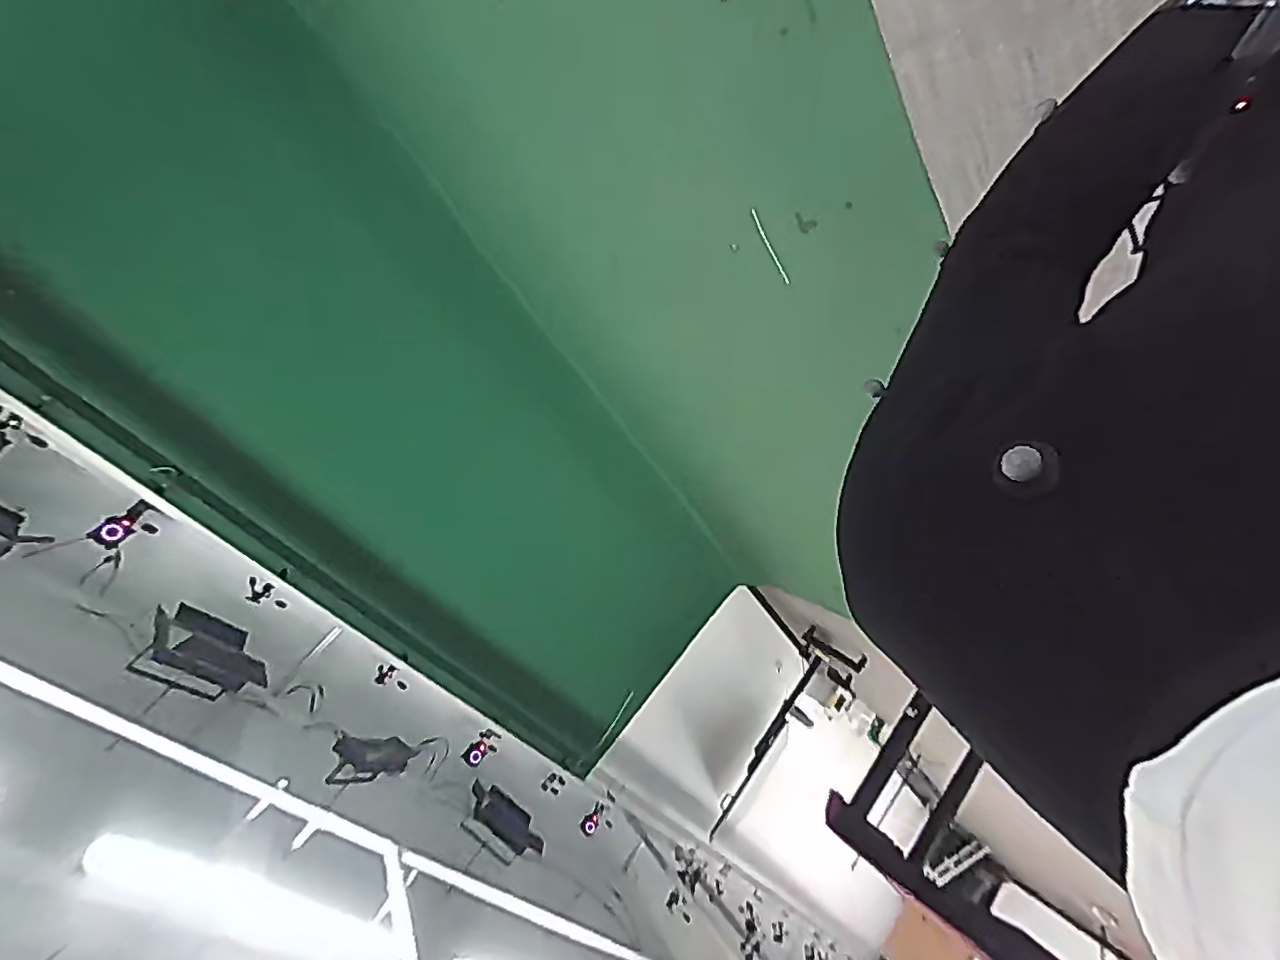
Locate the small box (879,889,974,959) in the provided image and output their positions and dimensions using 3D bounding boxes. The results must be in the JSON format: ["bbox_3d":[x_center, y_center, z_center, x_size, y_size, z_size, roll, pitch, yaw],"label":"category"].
[{"bbox_3d":[0.809,1.299,1.515,0.168,0.176,0.179,21,157,50],"label":"small box"}]
